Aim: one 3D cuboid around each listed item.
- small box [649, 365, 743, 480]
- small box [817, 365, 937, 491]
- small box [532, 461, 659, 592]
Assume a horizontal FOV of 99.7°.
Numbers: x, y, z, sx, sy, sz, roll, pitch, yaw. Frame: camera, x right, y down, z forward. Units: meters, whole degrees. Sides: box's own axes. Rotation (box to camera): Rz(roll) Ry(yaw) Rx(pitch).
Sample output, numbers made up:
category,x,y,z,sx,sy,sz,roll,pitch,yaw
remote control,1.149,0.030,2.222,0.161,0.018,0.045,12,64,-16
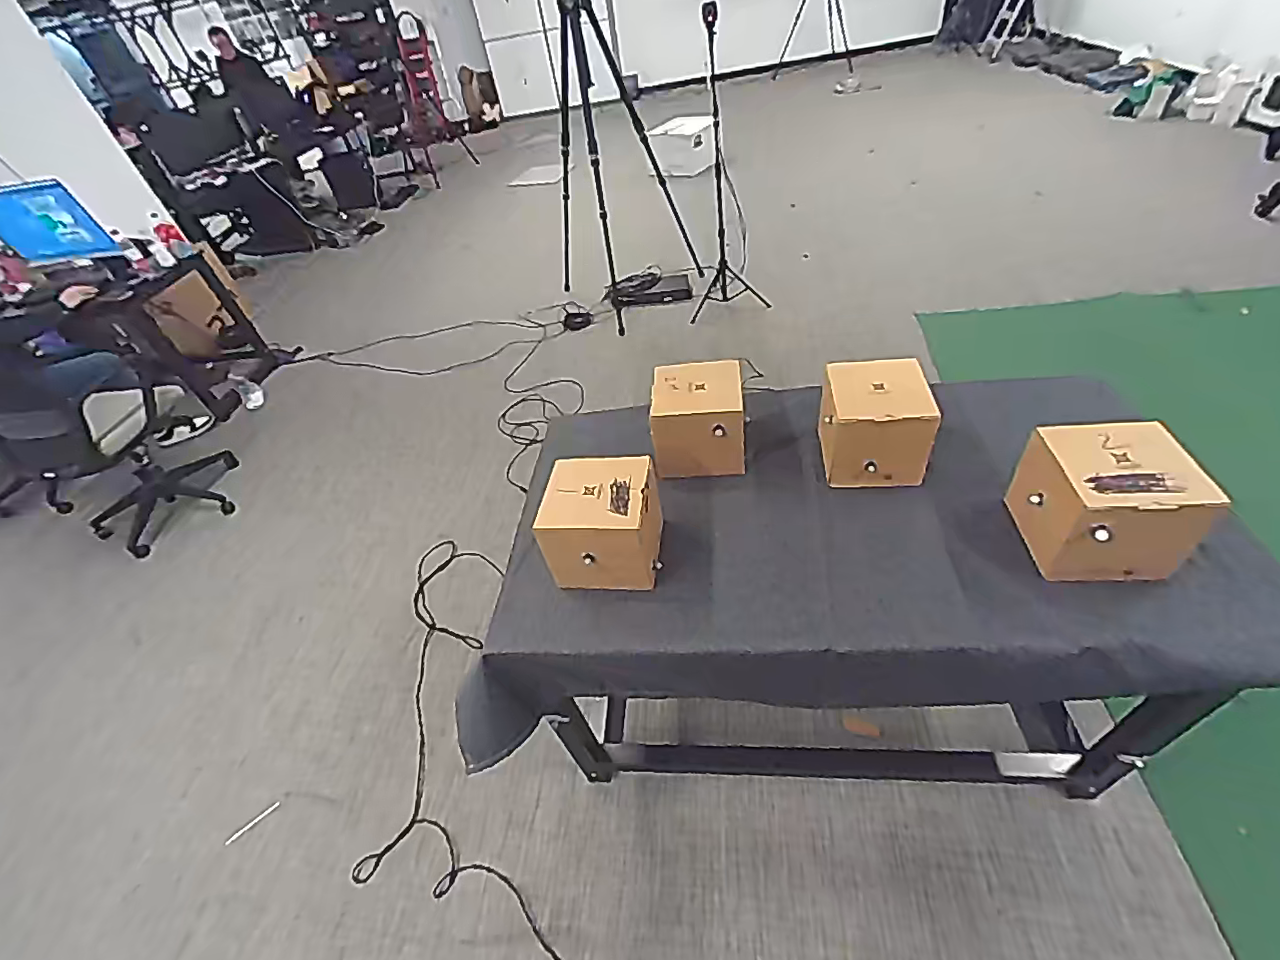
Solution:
category,x,y,z,sx,sy,sz,roll,pitch,yaw
small box,0.120,-0.114,1.109,0.179,0.176,0.168,-3,45,10
small box,0.437,-0.098,1.030,0.168,0.176,0.179,-1,46,10
small box,-0.065,0.083,0.949,0.179,0.176,0.168,-1,44,12
